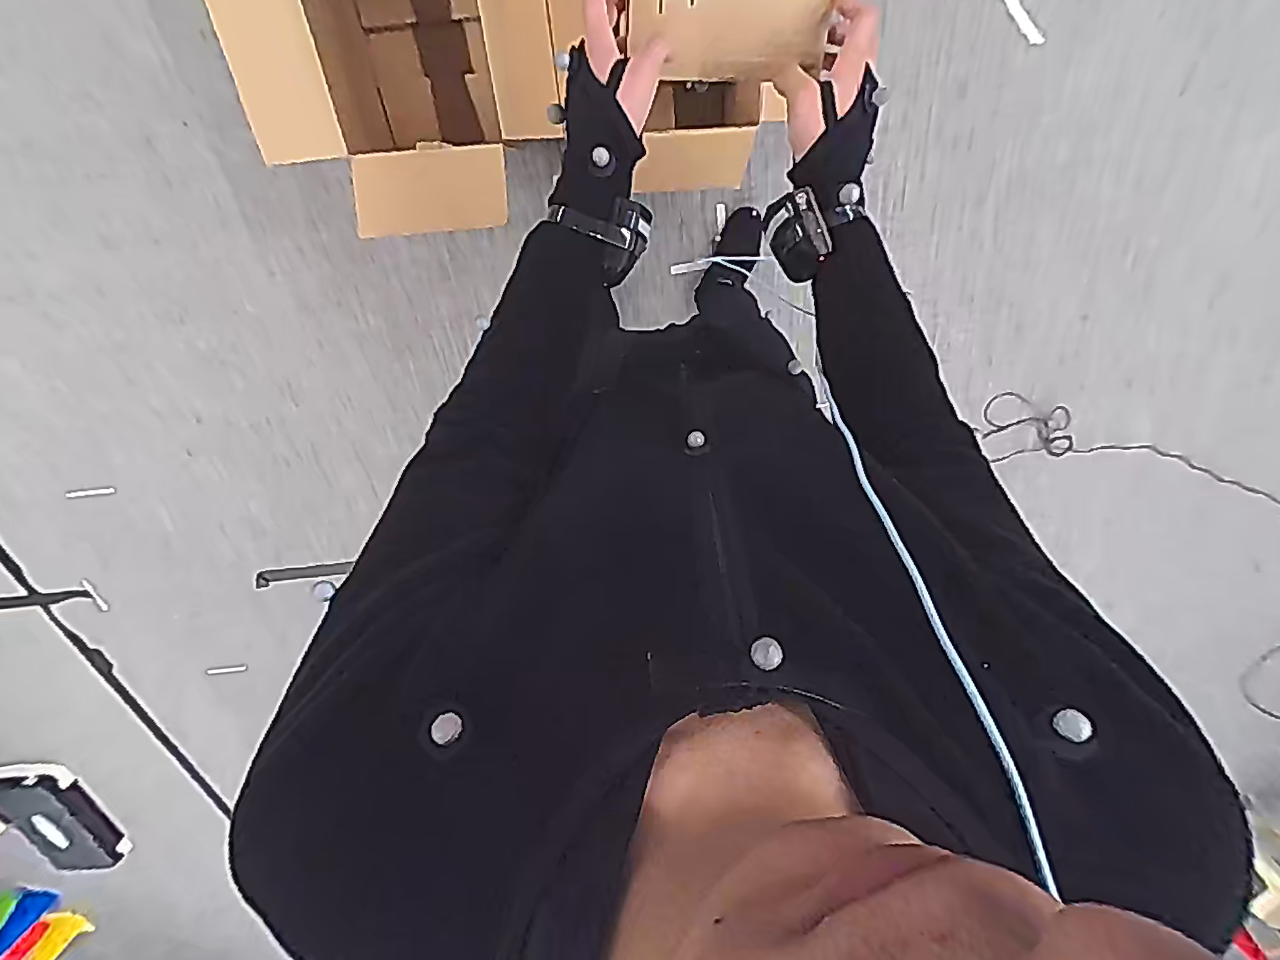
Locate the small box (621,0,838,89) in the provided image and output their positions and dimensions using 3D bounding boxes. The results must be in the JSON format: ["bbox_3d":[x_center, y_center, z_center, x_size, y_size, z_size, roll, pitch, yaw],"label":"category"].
[{"bbox_3d":[0.072,-0.460,0.476,0.179,0.176,0.168,-1,134,-4],"label":"small box"}]
